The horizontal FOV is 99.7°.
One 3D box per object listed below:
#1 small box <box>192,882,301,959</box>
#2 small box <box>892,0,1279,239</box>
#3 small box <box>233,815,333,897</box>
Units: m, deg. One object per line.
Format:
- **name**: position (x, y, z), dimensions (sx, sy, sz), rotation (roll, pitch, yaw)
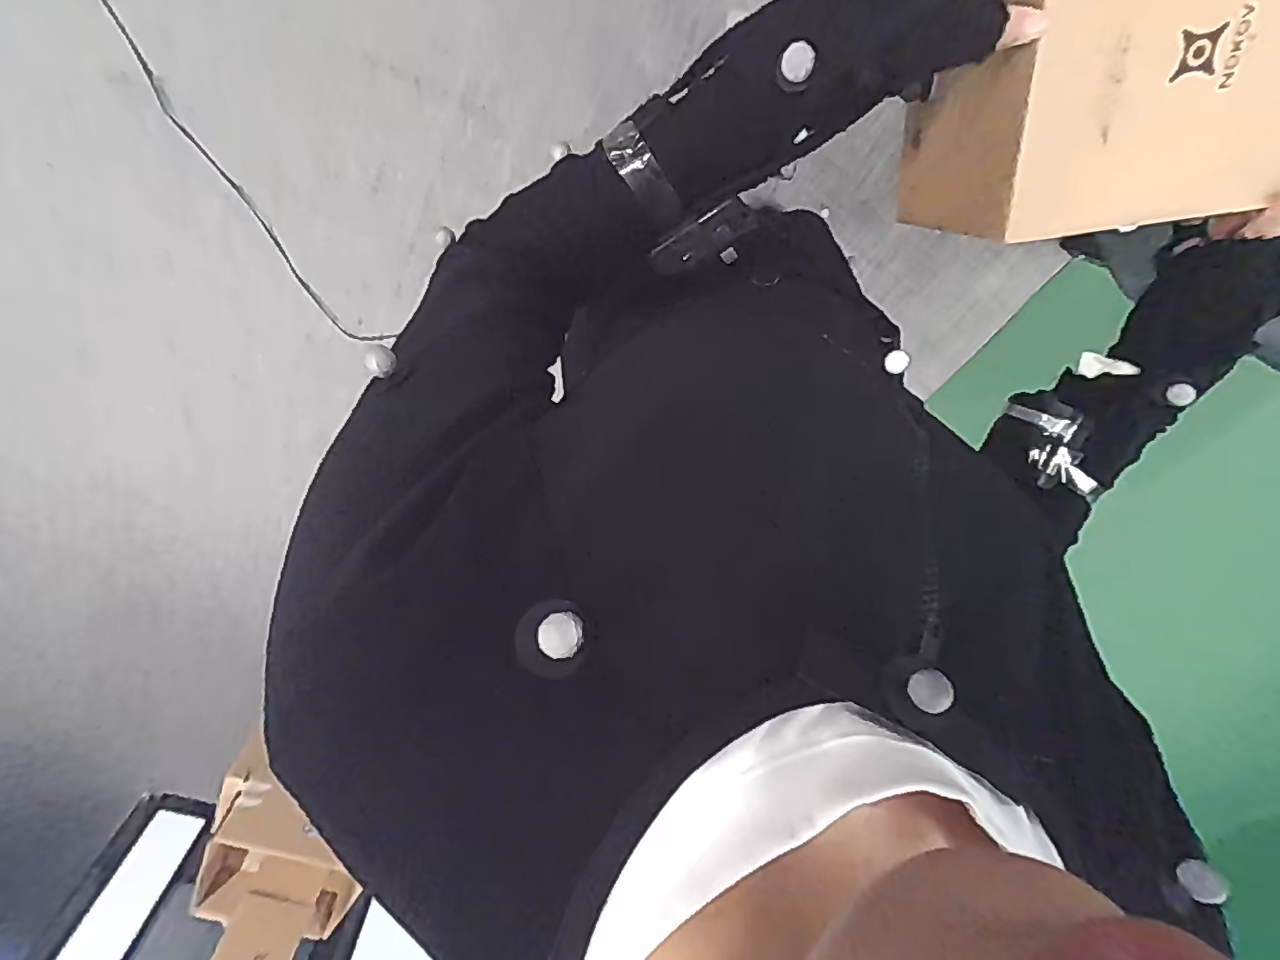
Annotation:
- **small box**: position (-1.030, 1.186, 1.417), dimensions (0.179, 0.176, 0.168), rotation (29, 123, -16)
- **small box**: position (0.291, -0.263, 0.350), dimensions (0.179, 0.176, 0.168), rotation (-7, 118, 5)
- **small box**: position (-1.025, 1.092, 1.552), dimensions (0.179, 0.176, 0.168), rotation (27, 124, -15)
